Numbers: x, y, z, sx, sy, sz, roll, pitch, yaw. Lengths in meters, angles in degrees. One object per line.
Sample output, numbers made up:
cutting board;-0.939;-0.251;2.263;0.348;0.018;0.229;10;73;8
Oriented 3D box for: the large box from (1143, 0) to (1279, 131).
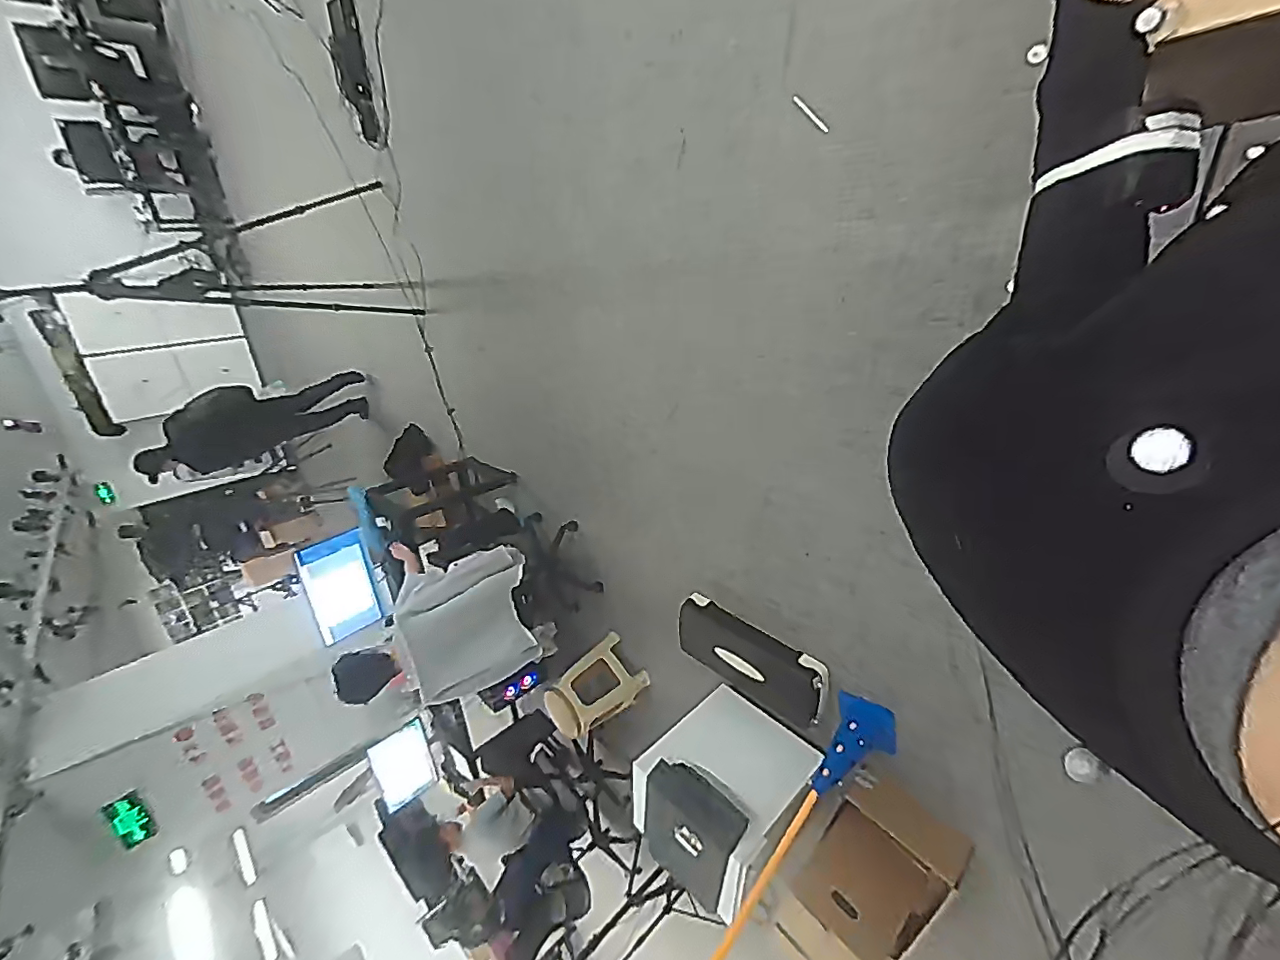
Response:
large box;0.570;-0.440;0.291;0.408;0.320;0.320;10;111;39
